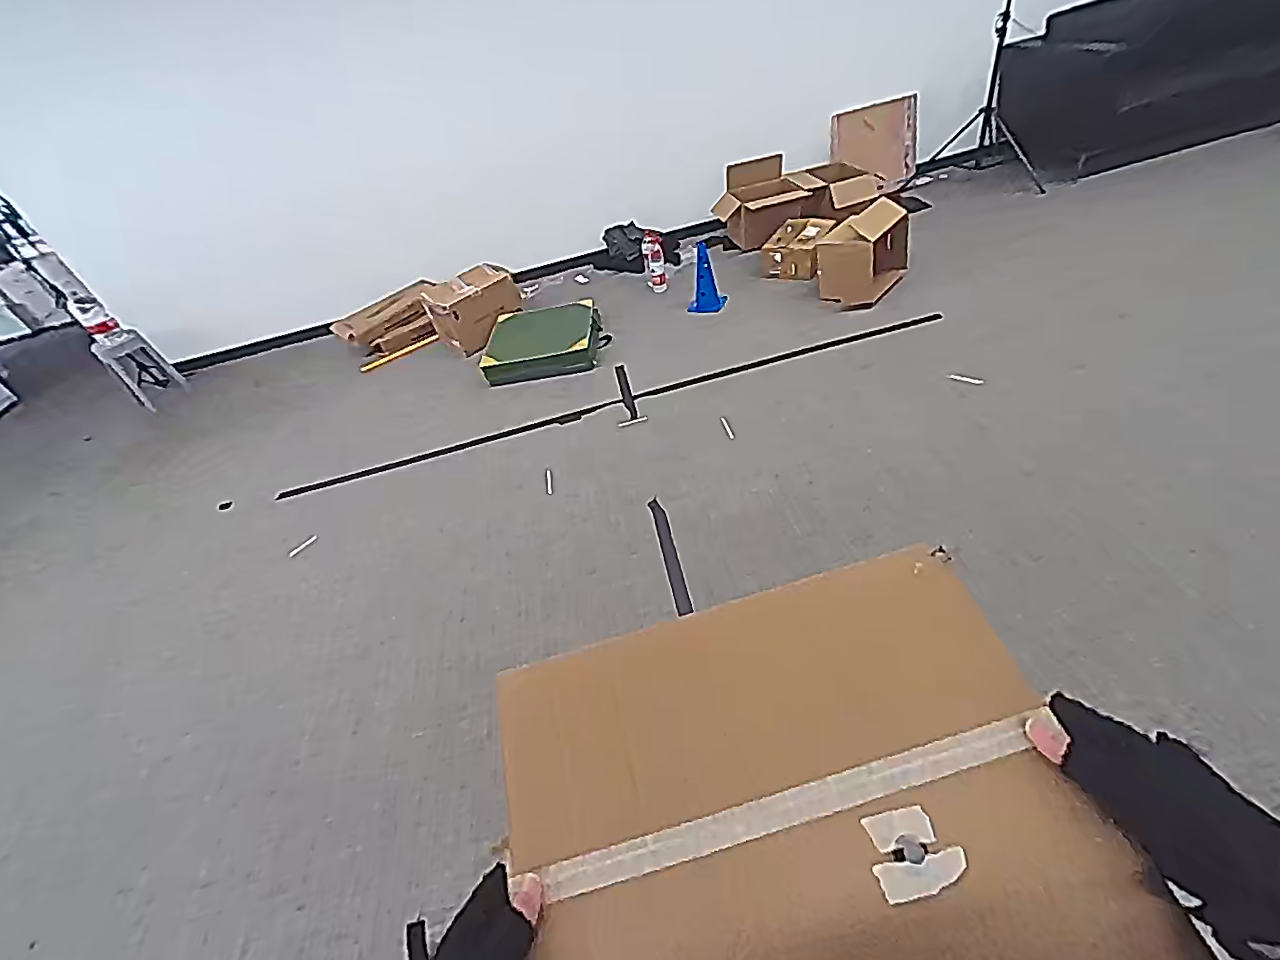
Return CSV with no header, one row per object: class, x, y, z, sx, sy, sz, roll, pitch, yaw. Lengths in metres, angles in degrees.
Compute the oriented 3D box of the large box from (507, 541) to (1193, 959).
large box,0.128,0.316,0.524,0.408,0.320,0.320,-17,55,-2
